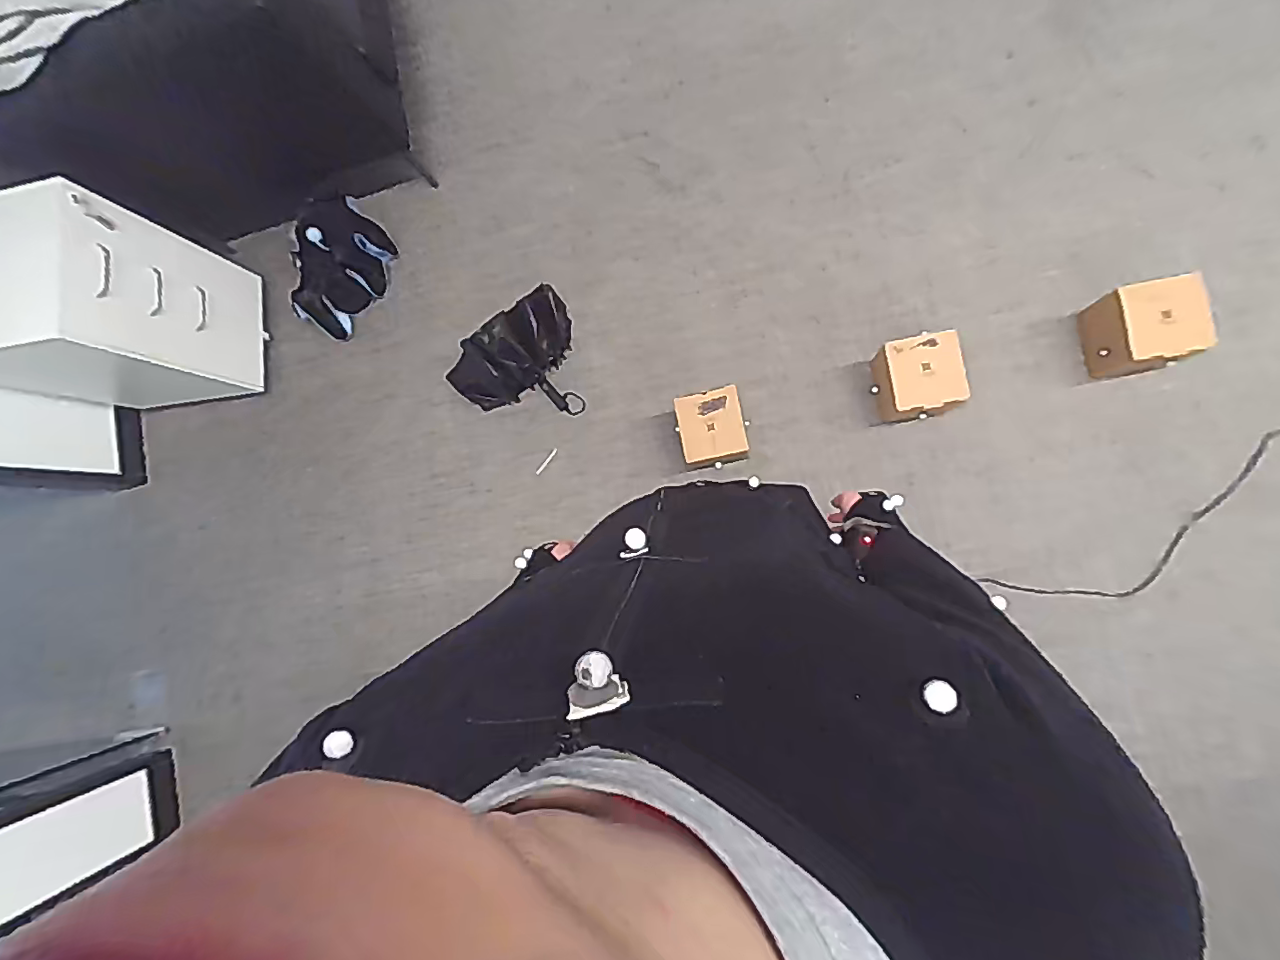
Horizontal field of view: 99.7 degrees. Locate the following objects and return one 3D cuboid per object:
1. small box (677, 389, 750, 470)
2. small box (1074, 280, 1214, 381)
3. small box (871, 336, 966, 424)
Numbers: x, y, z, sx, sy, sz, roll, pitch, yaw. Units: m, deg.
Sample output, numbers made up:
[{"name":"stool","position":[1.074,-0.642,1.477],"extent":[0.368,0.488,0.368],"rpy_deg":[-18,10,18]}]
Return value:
[{"name":"small box","position":[0.203,-0.131,1.482],"extent":[0.168,0.176,0.179],"rpy_deg":[-11,85,11]},{"name":"small box","position":[1.185,-0.344,1.287],"extent":[0.168,0.176,0.179],"rpy_deg":[-10,83,11]},{"name":"small box","position":[0.704,-0.246,1.384],"extent":[0.168,0.176,0.179],"rpy_deg":[-9,85,12]}]
